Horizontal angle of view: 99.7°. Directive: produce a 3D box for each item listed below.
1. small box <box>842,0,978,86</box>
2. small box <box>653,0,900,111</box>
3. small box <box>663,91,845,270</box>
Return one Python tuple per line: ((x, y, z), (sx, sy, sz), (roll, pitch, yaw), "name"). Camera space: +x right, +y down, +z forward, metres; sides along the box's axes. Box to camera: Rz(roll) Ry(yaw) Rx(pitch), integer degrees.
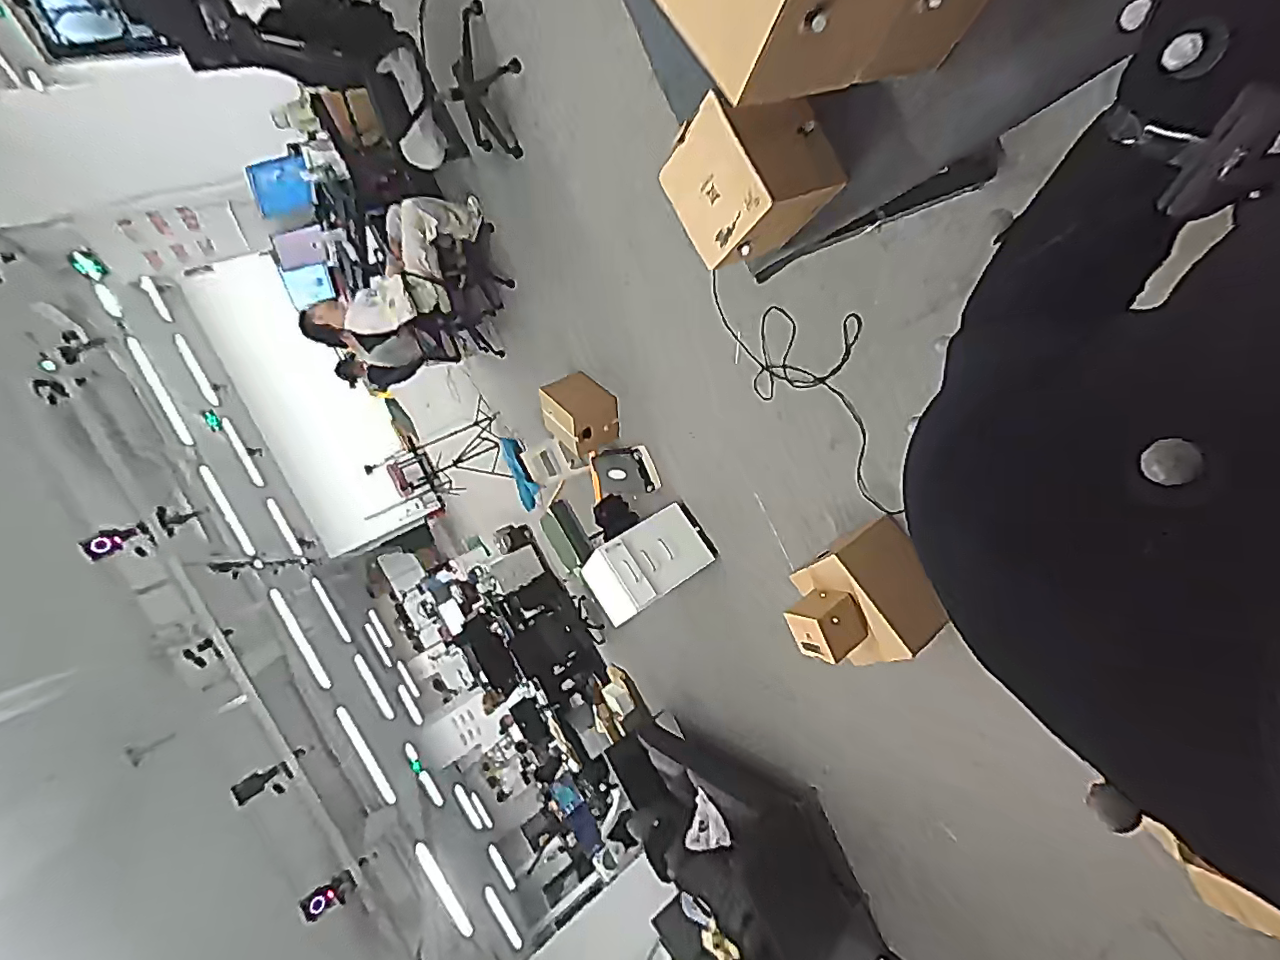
((0.267, -0.554, 0.553), (0.168, 0.176, 0.179), (56, 154, 10), "small box")
((0.139, -0.480, 0.483), (0.168, 0.176, 0.179), (57, 154, 8), "small box")
((0.171, -0.458, 0.825), (0.179, 0.176, 0.168), (61, 154, 0), "small box")
